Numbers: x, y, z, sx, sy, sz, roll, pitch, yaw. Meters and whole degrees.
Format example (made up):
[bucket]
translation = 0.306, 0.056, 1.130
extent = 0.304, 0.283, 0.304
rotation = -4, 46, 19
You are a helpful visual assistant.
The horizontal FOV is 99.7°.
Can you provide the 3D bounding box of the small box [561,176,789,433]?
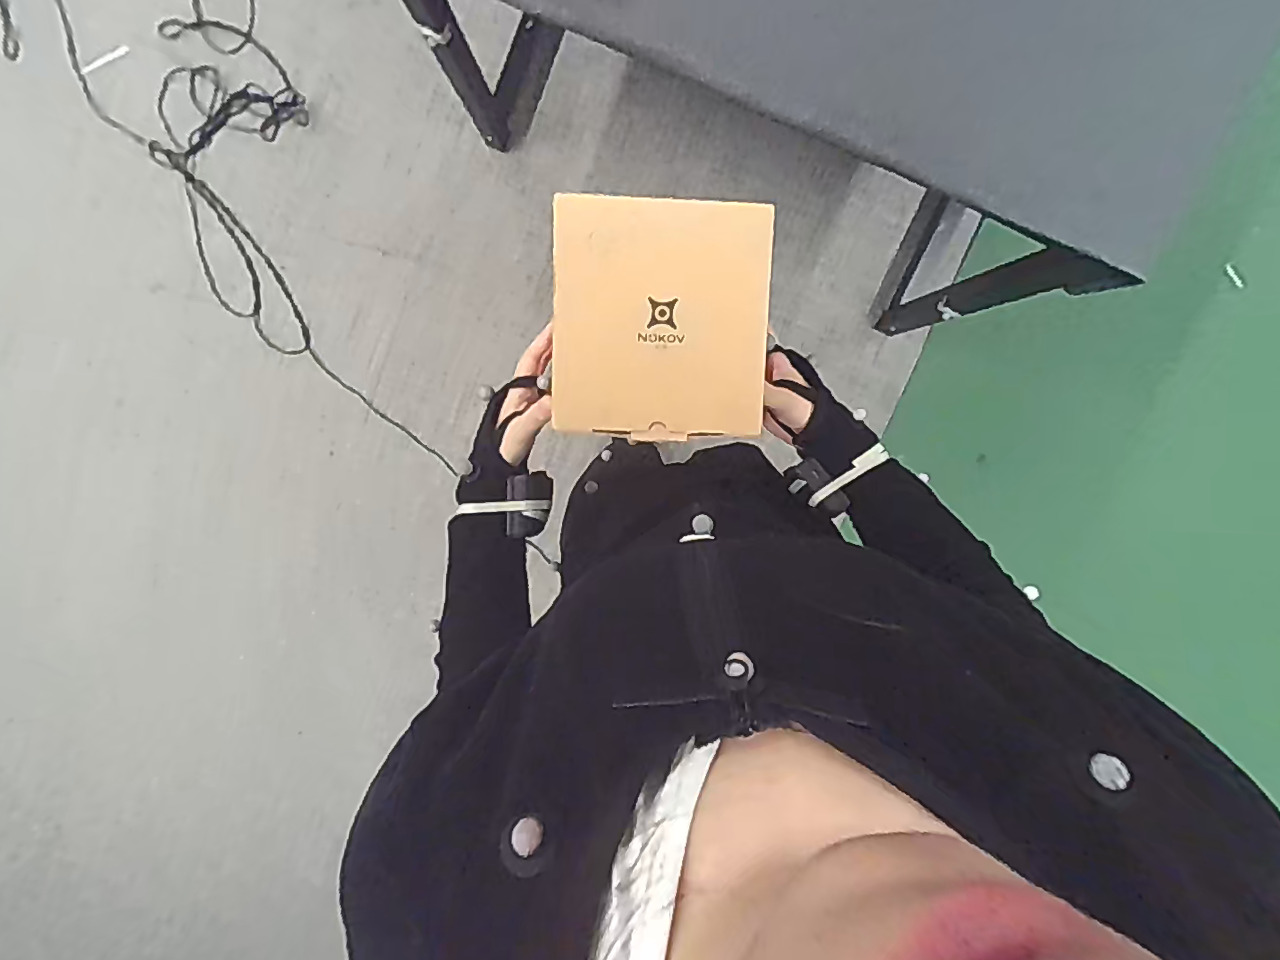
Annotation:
[small box]
translation = 0.017, -0.133, 0.474
extent = 0.168, 0.176, 0.179
rotation = 2, 96, -6
